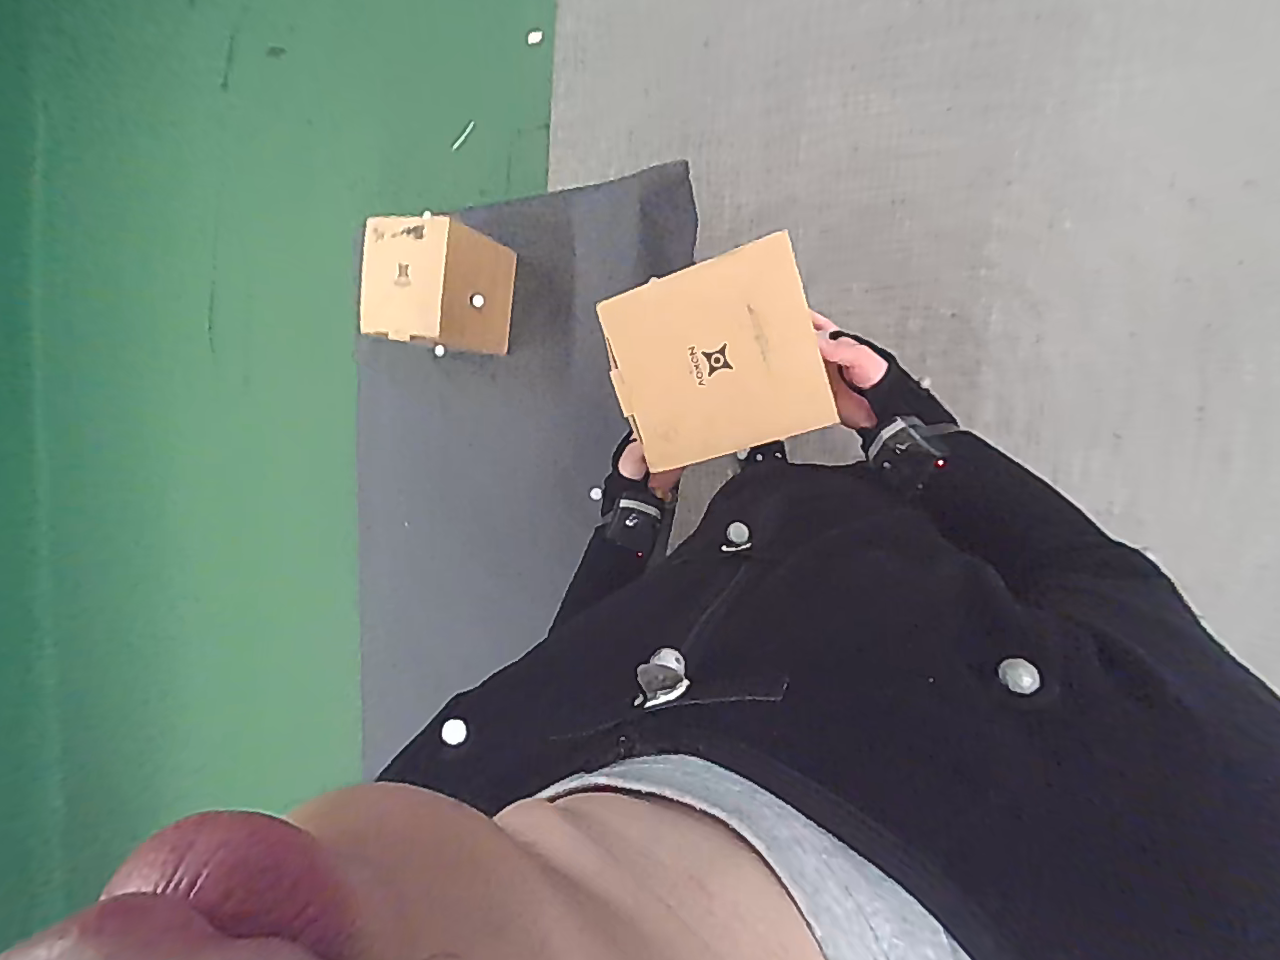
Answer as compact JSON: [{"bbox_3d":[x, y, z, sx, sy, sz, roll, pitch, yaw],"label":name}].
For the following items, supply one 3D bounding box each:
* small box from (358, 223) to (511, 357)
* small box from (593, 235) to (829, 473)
[{"bbox_3d":[-0.332,-0.304,0.893,0.168,0.176,0.179,10,98,21],"label":"small box"},{"bbox_3d":[0.079,-0.121,0.549,0.179,0.176,0.168,-16,100,17],"label":"small box"}]
